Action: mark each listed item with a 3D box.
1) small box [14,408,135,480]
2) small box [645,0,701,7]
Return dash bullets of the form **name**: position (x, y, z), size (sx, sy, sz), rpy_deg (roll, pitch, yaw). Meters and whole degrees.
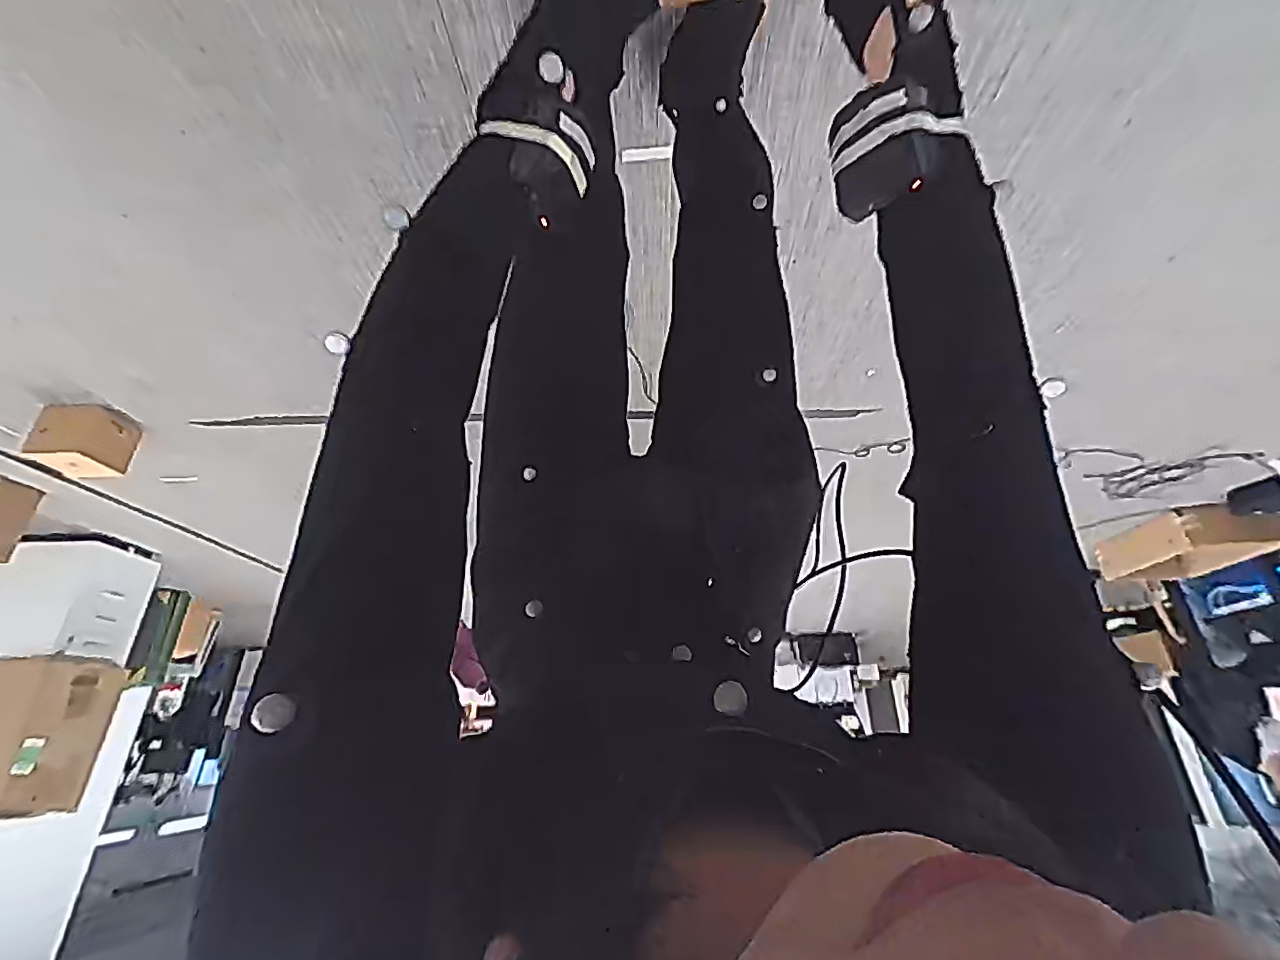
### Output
- **small box**: position (-1.745, -0.112, 1.683), size (0.179, 0.176, 0.168), rpy_deg (-2, 155, 1)
- **small box**: position (0.069, -0.507, 0.427), size (0.168, 0.176, 0.179), rpy_deg (-7, 124, 11)
